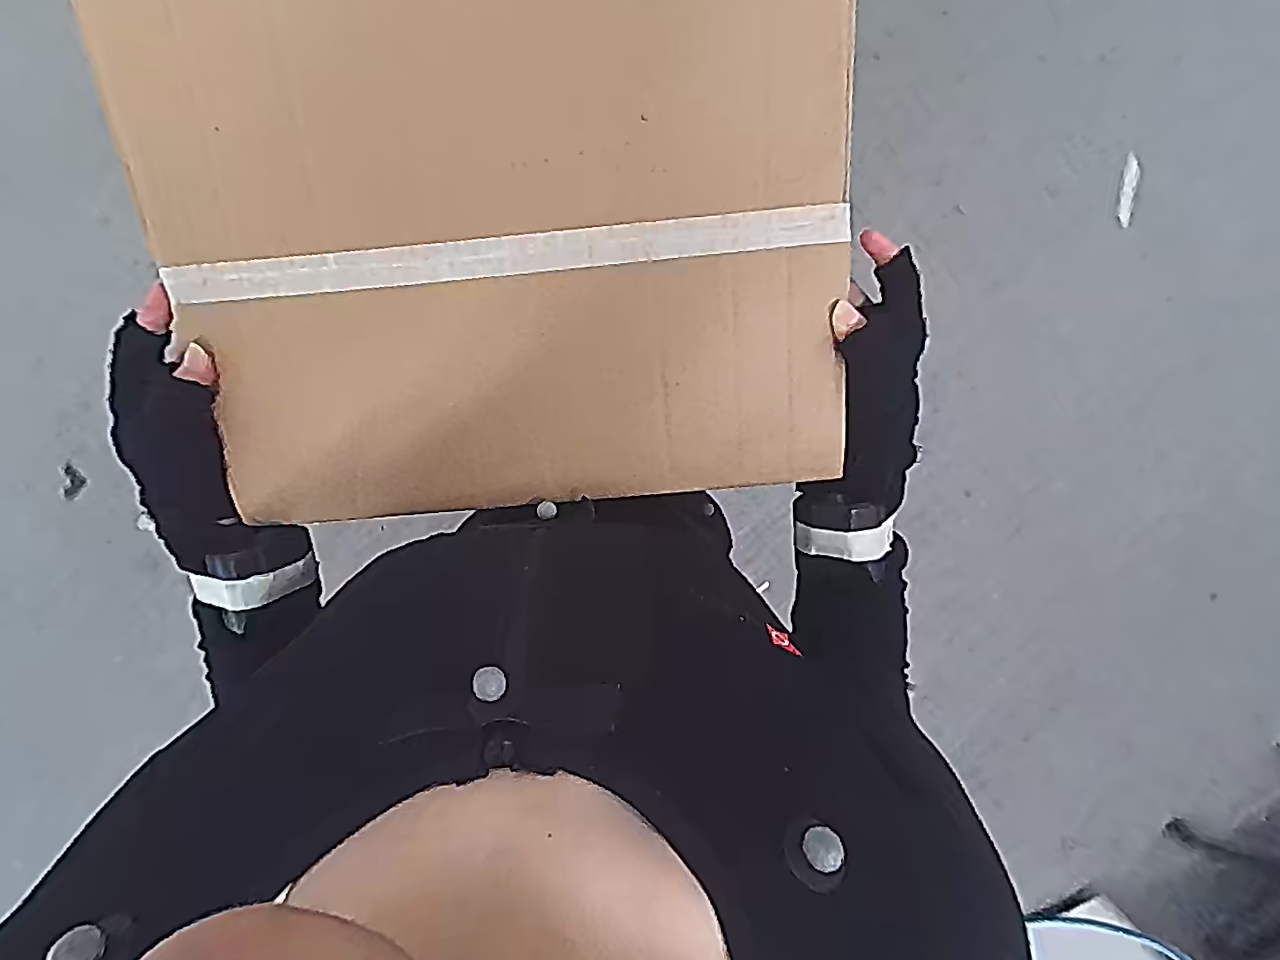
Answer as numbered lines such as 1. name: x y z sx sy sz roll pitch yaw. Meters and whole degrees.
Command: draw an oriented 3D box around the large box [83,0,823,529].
1. large box: -0.089 -0.178 0.473 0.408 0.320 0.320 -6 106 1
